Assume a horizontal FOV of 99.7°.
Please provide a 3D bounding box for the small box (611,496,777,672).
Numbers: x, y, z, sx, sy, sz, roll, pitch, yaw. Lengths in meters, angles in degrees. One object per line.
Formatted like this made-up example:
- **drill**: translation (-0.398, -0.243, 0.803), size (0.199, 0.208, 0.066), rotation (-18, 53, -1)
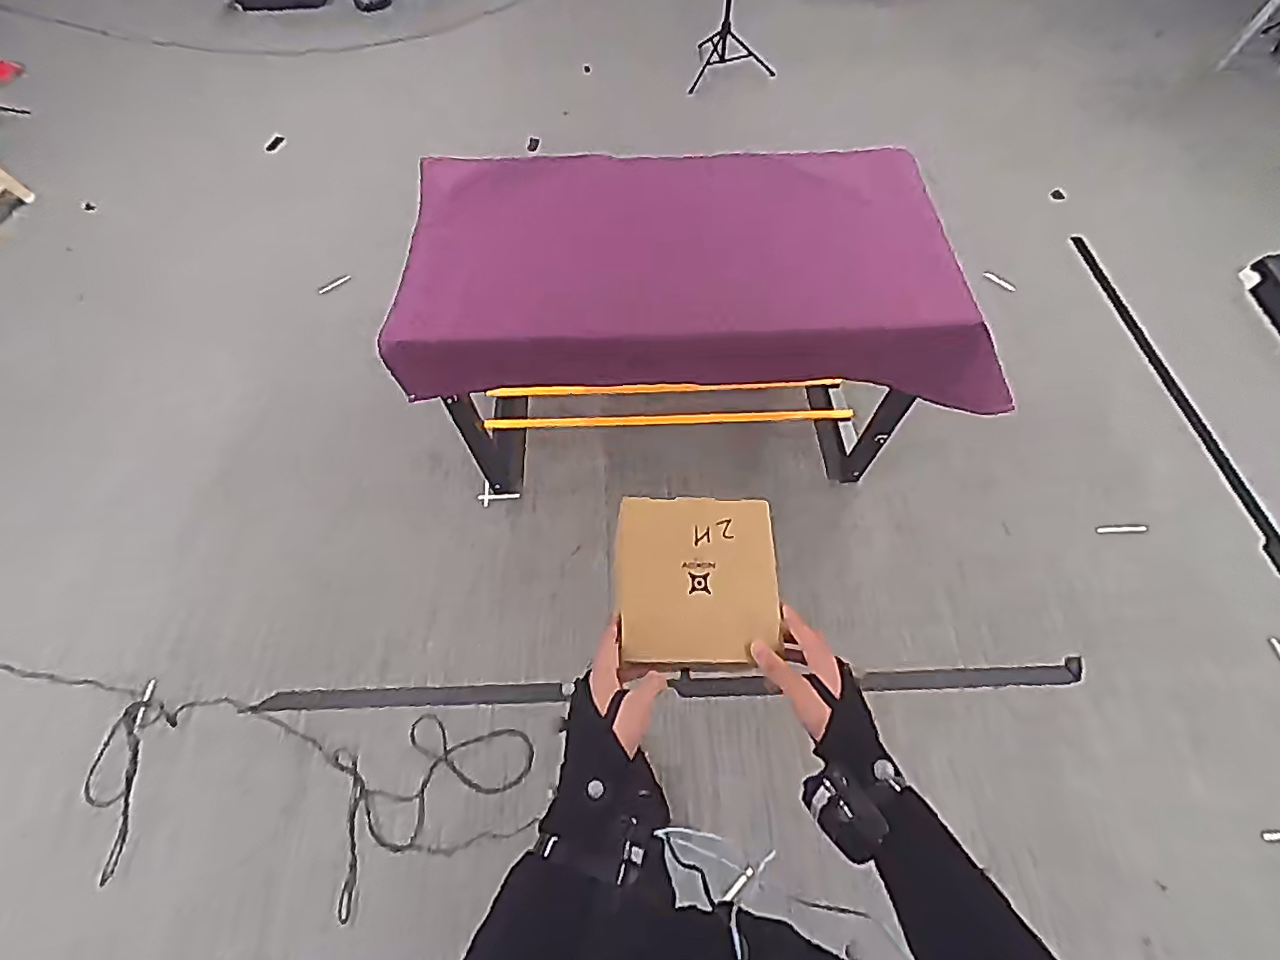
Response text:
- **small box**: translation (0.053, 0.131, 0.641), size (0.168, 0.176, 0.179), rotation (2, 67, -5)
